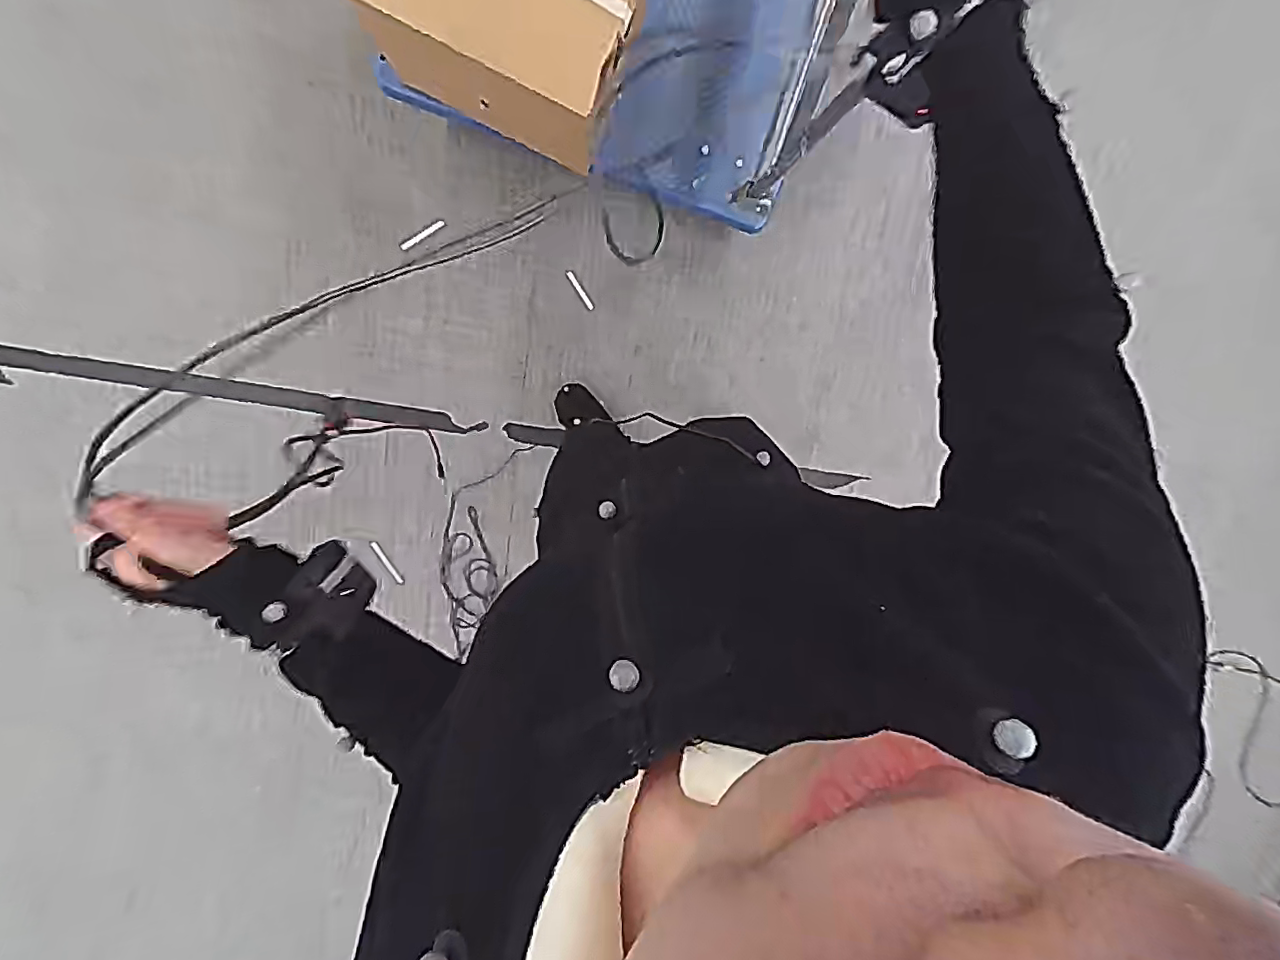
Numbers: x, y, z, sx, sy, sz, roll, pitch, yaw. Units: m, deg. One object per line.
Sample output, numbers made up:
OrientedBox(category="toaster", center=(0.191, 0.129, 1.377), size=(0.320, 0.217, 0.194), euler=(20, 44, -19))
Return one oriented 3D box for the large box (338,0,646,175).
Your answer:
OrientedBox(category="large box", center=(-0.220, -0.810, 0.941), size=(0.408, 0.320, 0.320), euler=(22, 100, -10))
